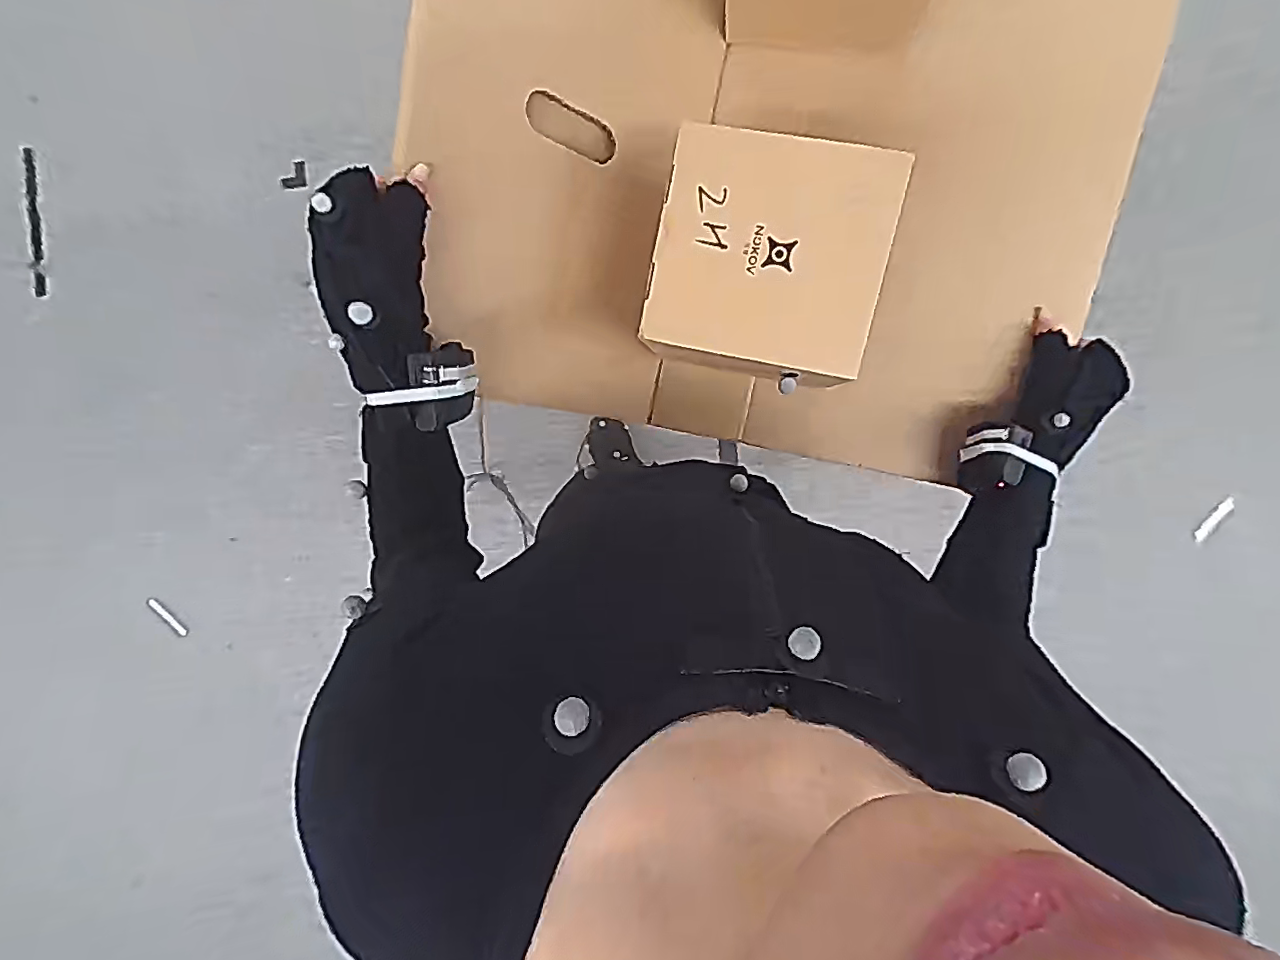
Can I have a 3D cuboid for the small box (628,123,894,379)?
[{"bbox_3d":[0.102,-0.190,0.500,0.179,0.176,0.168,12,99,8],"label":"small box"}]
